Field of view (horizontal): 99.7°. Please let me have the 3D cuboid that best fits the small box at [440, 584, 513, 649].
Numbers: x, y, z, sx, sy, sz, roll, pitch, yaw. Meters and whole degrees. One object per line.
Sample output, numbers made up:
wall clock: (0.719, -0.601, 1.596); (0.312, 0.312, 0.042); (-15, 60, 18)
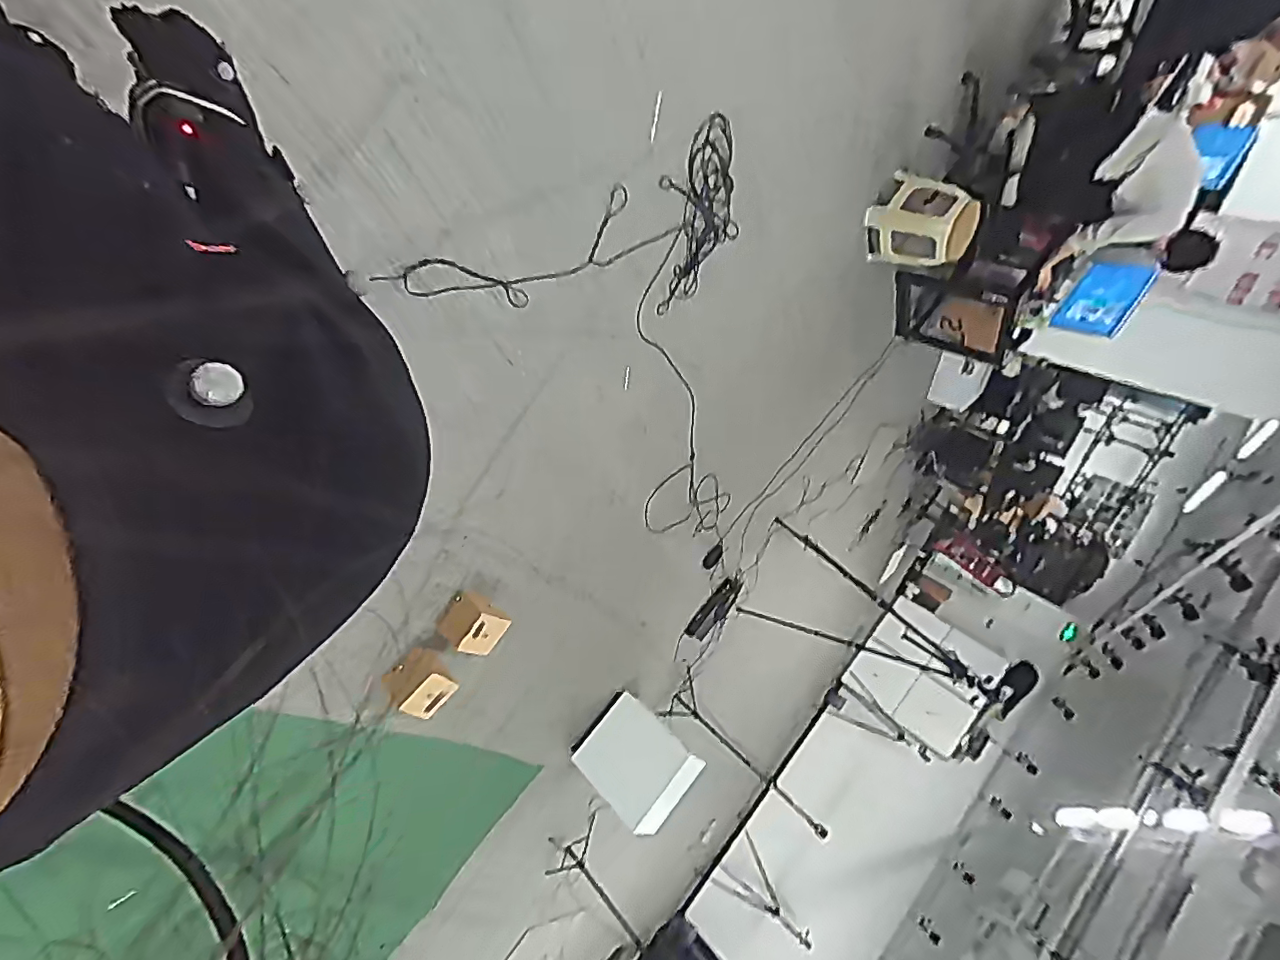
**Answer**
small box: (-0.633, 0.522, 2.079); (0.168, 0.176, 0.179); (-53, 145, -3)
